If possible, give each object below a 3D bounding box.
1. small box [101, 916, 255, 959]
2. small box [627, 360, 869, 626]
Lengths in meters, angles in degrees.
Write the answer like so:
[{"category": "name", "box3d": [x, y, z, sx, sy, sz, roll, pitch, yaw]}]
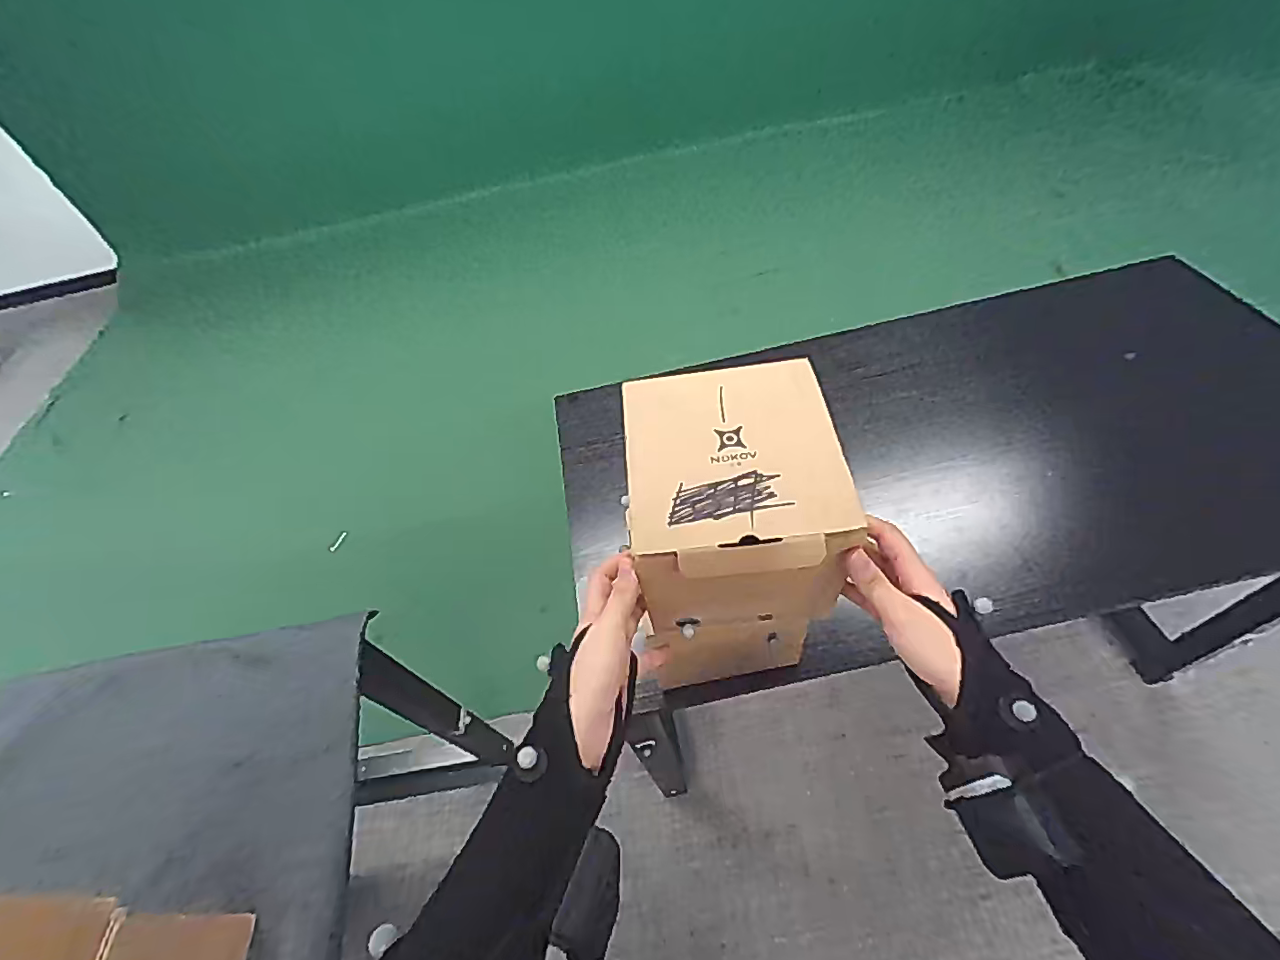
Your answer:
[{"category": "small box", "box3d": [-0.494, 0.500, 0.475, 0.179, 0.176, 0.168, -11, 52, 4]}, {"category": "small box", "box3d": [0.084, 0.022, 0.487, 0.168, 0.176, 0.179, -7, 55, 4]}]
